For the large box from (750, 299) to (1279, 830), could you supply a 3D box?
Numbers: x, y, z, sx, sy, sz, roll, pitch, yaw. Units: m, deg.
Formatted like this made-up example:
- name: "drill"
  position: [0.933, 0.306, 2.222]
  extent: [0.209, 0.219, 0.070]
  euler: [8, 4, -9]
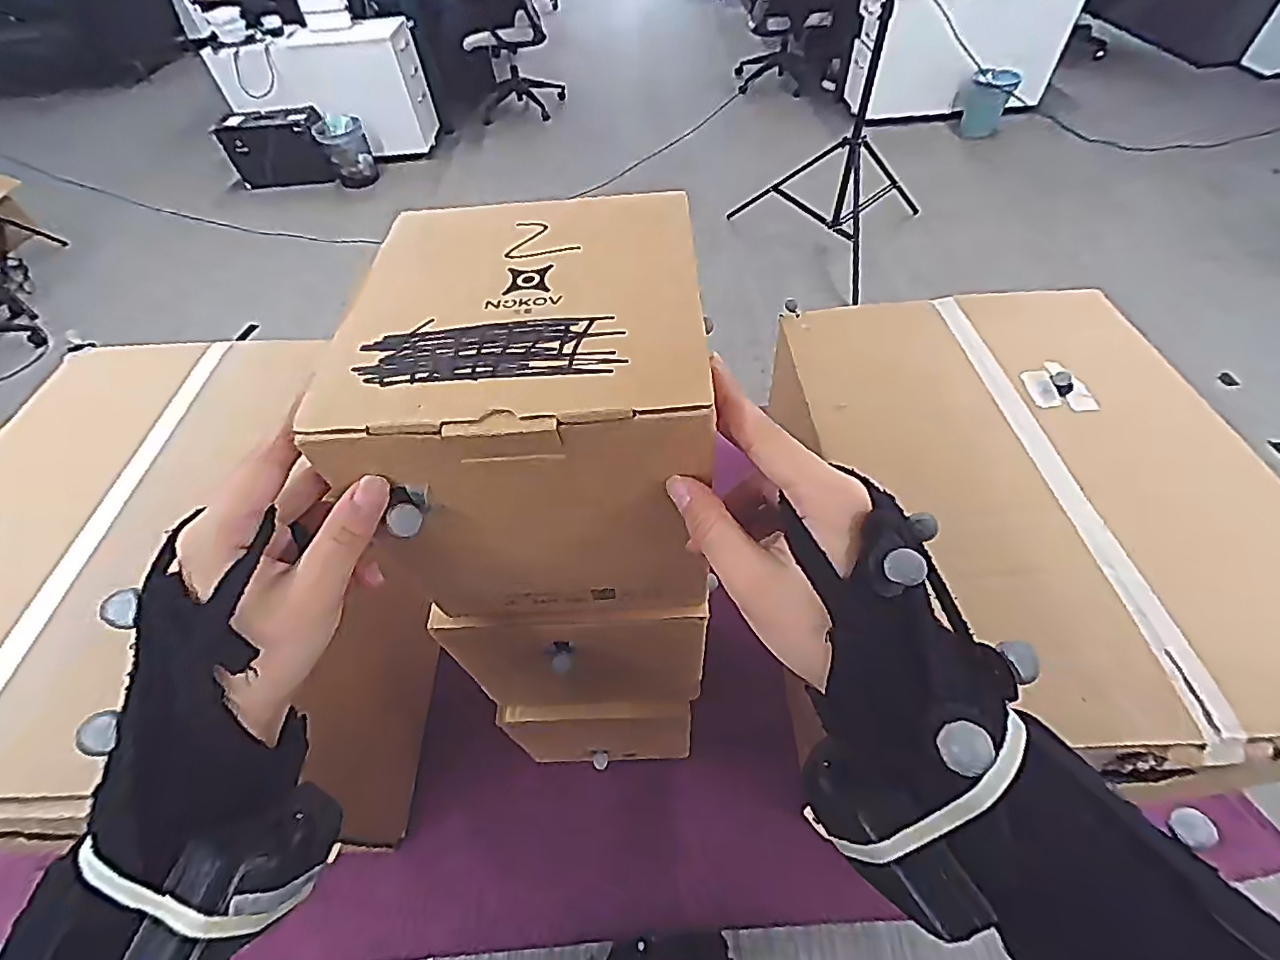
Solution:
- name: "large box"
  position: [0.303, 0.081, 0.531]
  extent: [0.320, 0.320, 0.408]
  euler: [-4, 51, 1]
